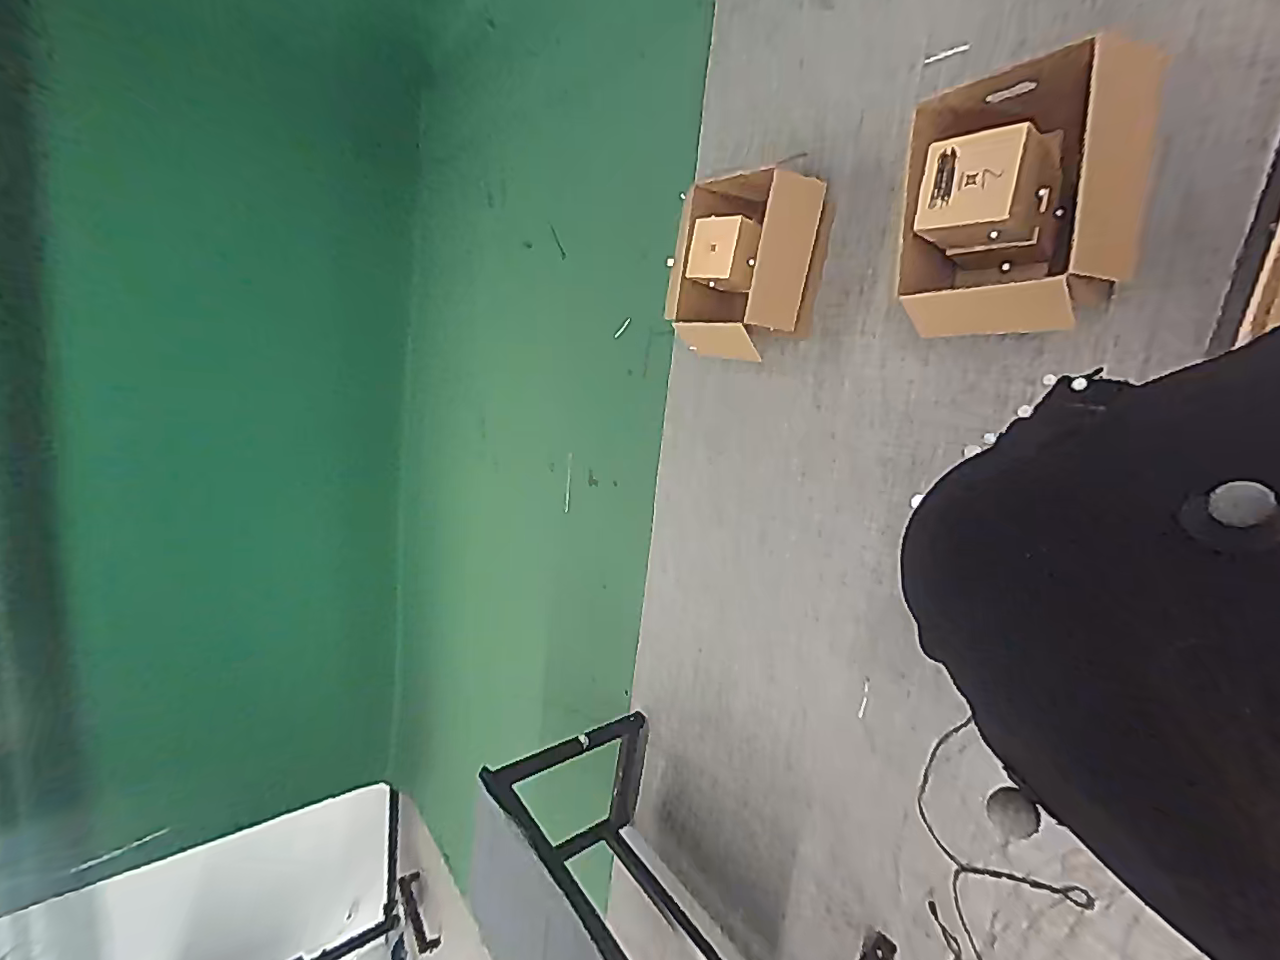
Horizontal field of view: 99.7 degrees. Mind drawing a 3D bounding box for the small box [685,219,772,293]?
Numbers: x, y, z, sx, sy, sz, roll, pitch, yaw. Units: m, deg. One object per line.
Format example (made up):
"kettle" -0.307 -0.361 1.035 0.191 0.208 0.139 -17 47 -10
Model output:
"small box" 0.262 -0.656 1.593 0.179 0.176 0.168 23 107 45
